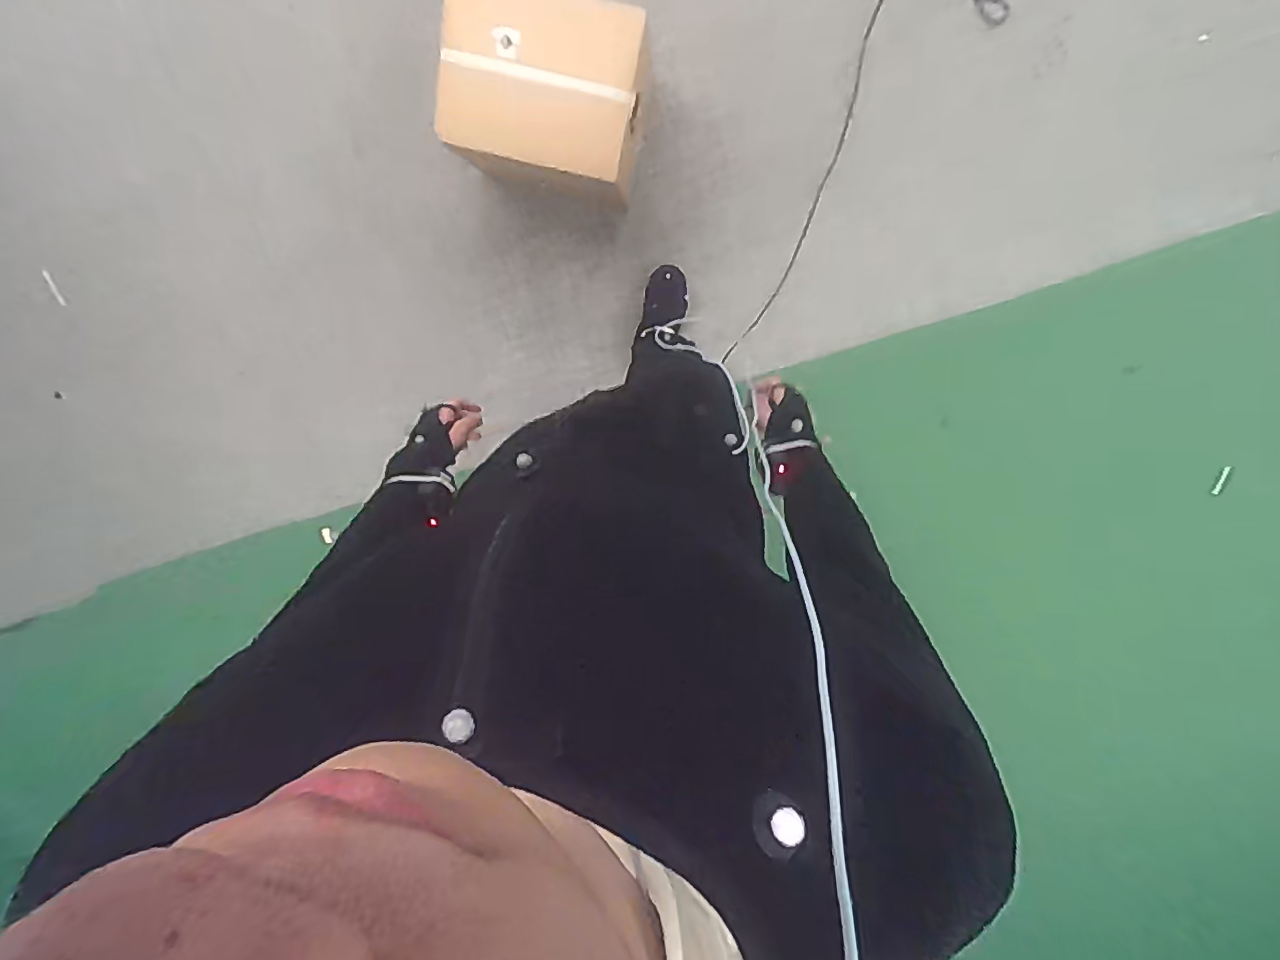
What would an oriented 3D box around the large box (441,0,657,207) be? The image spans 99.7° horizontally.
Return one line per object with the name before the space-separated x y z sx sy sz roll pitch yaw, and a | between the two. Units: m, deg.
large box | -0.191 -0.859 1.251 0.408 0.320 0.320 14 107 1
